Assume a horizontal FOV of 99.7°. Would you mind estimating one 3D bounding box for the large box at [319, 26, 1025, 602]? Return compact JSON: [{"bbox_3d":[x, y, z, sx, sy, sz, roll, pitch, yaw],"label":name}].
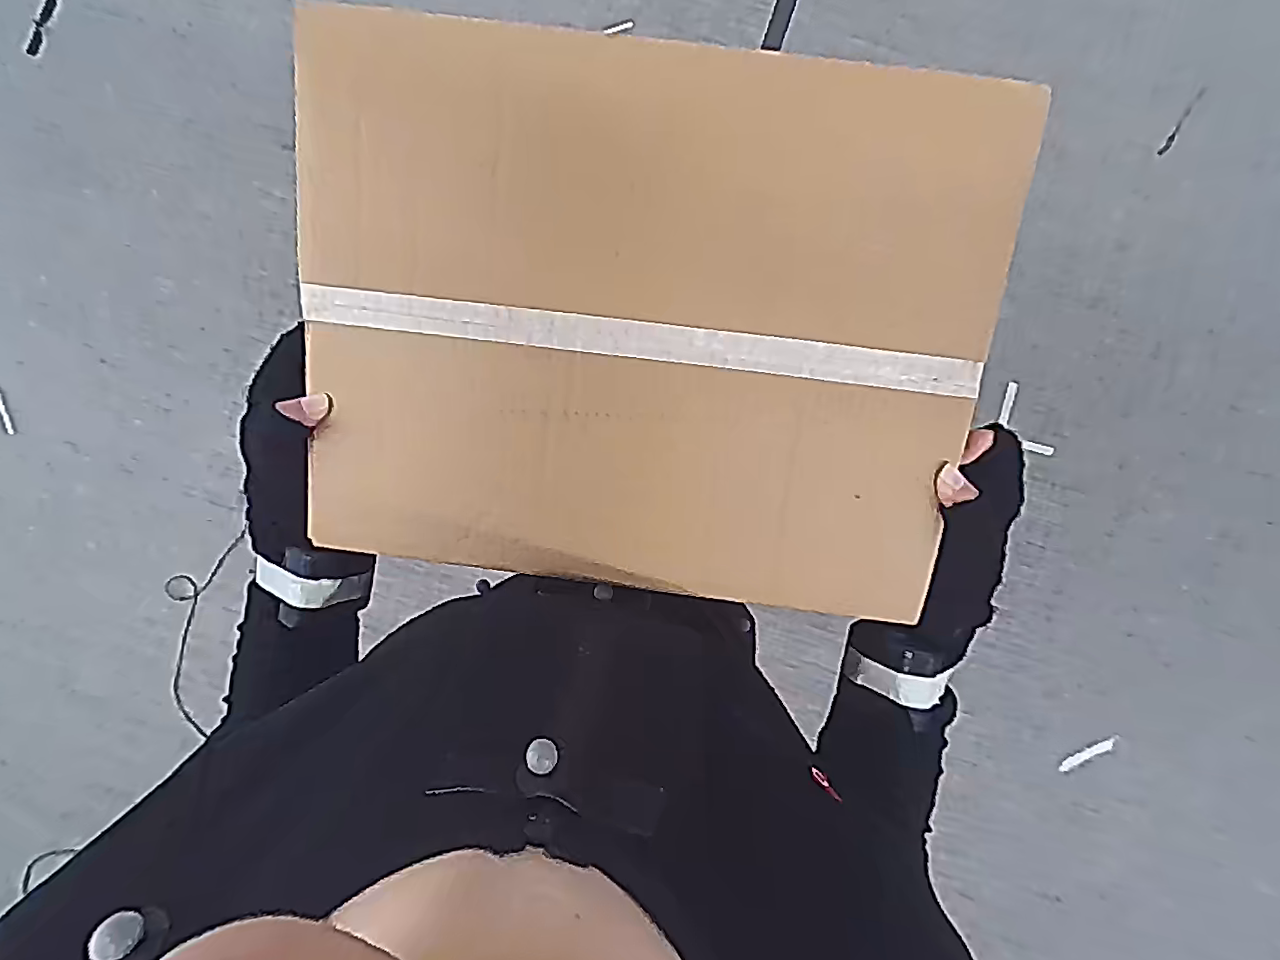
[{"bbox_3d":[0.005,-0.118,0.477,0.408,0.320,0.320,7,104,1],"label":"large box"}]
